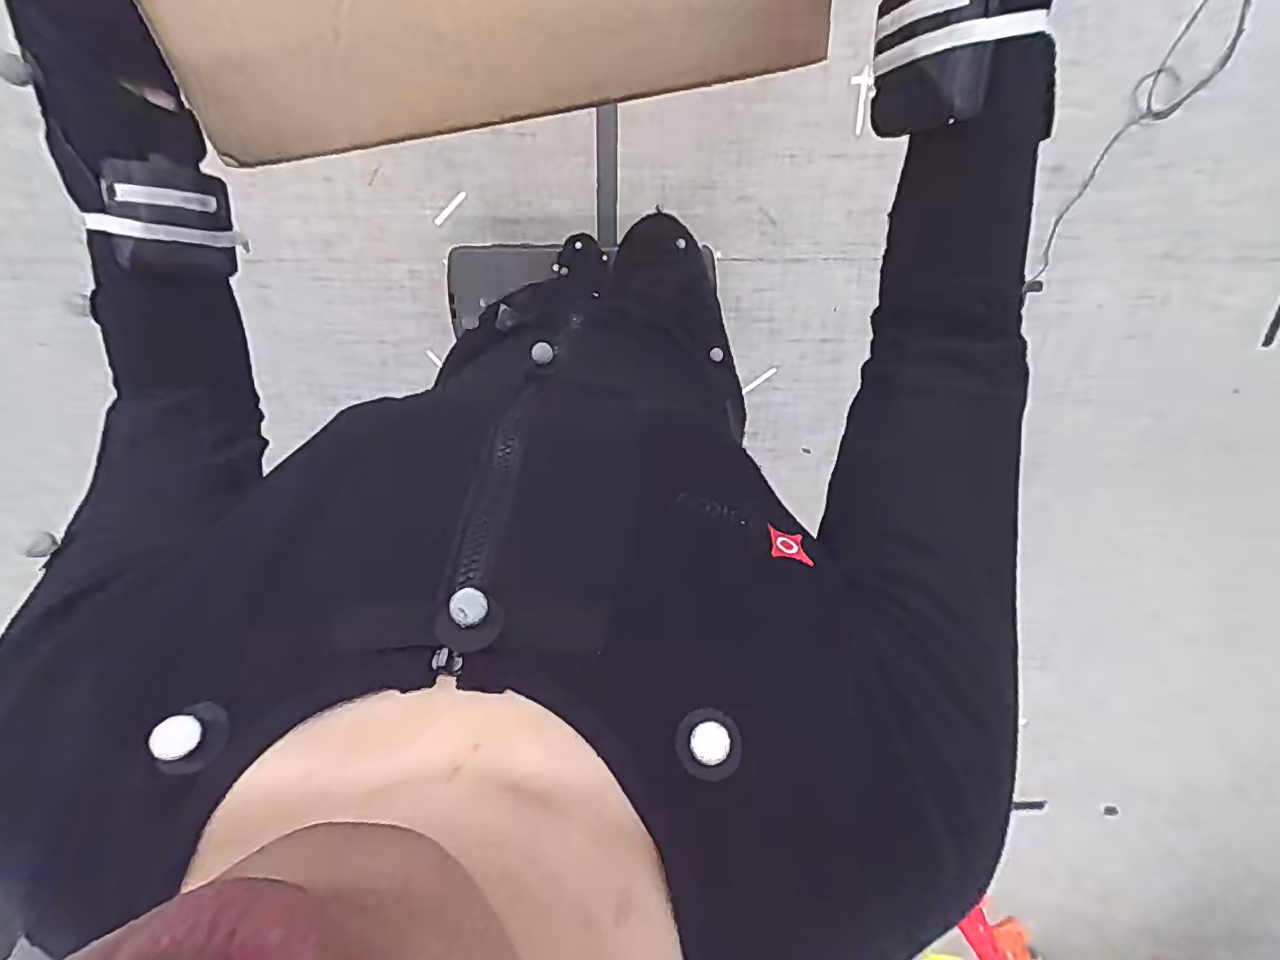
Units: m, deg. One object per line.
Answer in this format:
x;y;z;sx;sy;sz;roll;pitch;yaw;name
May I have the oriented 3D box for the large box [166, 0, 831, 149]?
-0.111;-0.463;0.389;0.408;0.320;0.320;-11;127;-1;large box
